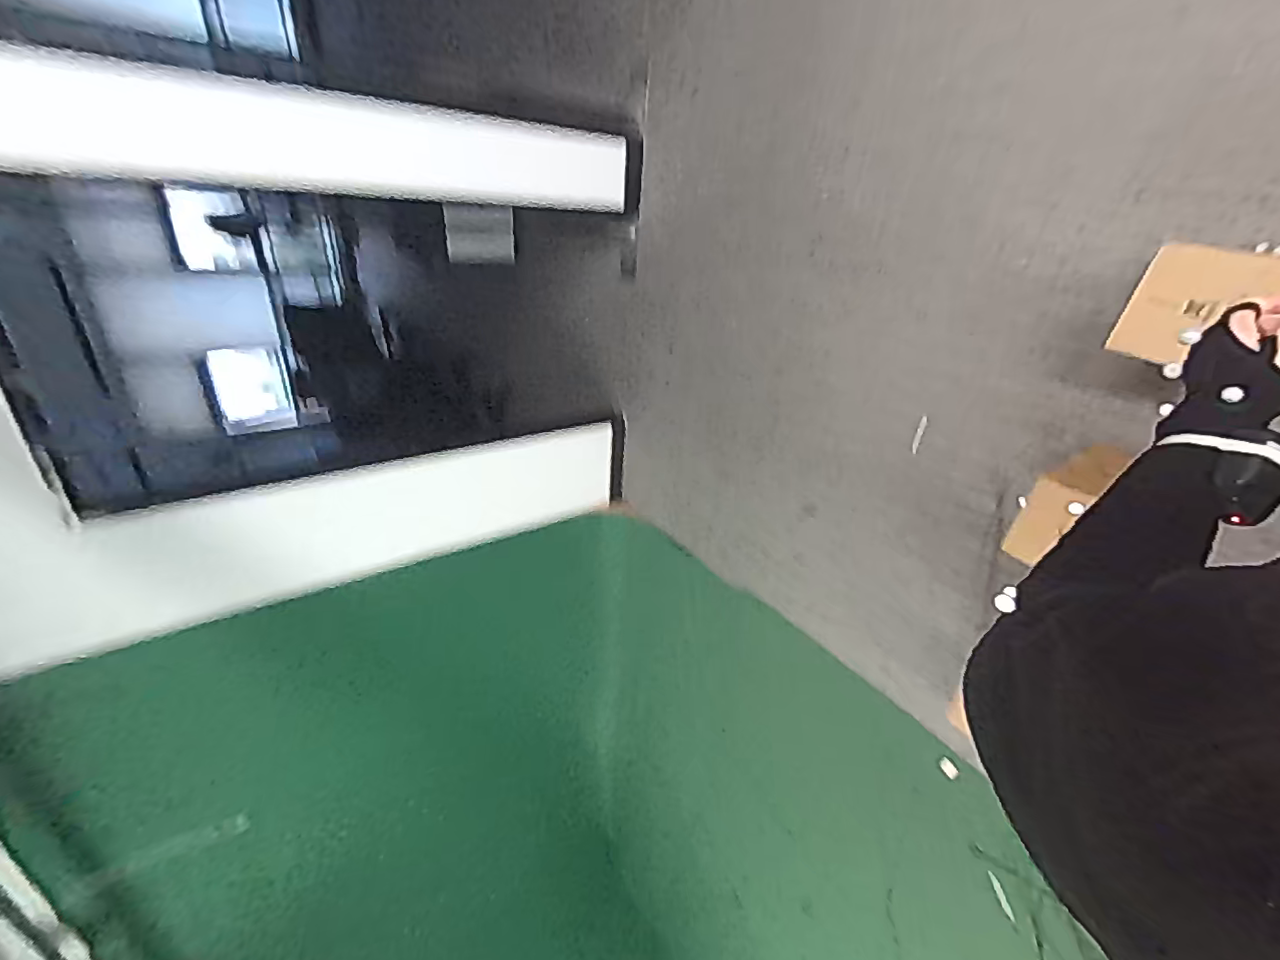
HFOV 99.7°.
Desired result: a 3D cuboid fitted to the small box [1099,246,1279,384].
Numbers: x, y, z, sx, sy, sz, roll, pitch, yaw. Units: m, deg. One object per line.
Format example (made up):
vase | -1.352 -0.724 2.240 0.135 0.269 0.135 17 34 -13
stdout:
small box | 0.898 -0.267 0.856 0.179 0.176 0.168 41 134 43
